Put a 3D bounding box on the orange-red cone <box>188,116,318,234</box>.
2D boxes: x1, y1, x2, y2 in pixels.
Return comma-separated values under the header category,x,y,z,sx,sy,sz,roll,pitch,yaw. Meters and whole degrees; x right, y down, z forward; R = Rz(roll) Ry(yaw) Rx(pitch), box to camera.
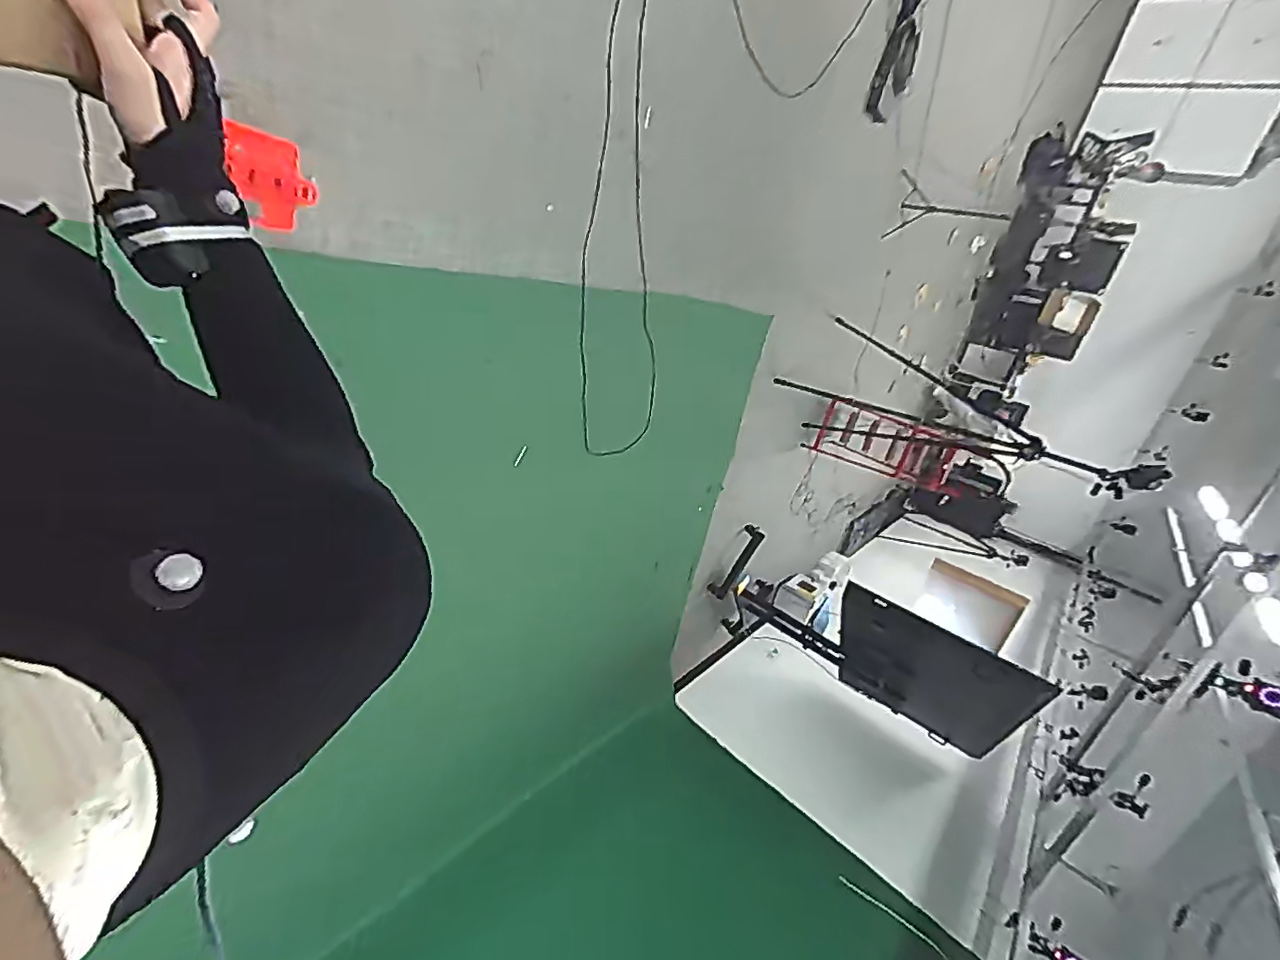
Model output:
category,x,y,z,sx,sy,sz,roll,pitch,yaw
orange-red cone,-0.769,-0.613,1.136,0.199,0.360,0.198,-7,120,-53
